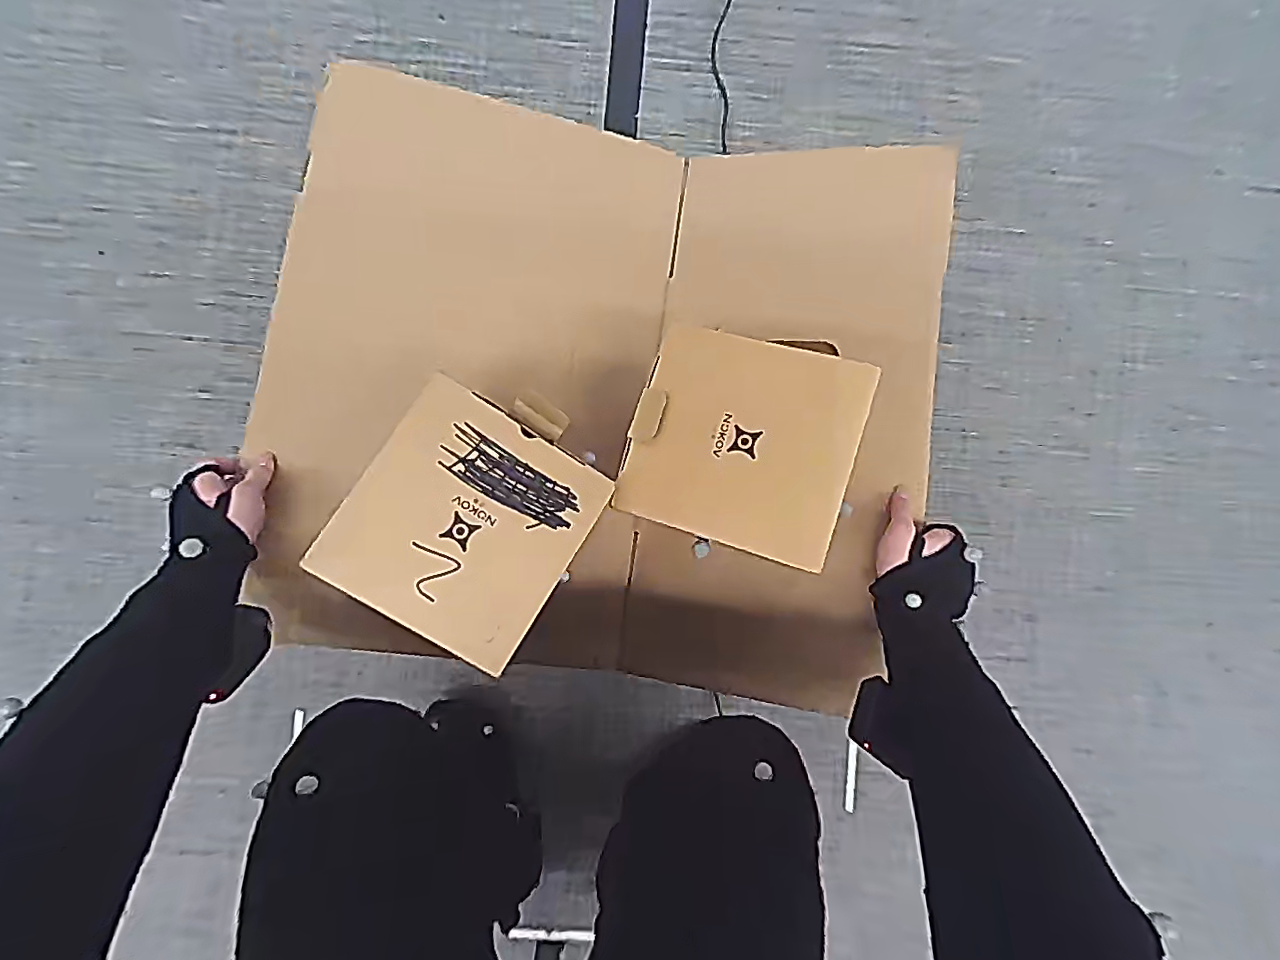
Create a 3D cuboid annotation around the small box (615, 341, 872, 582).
[{"bbox_3d":[0.101,-0.012,0.522,0.179,0.176,0.168,16,87,17],"label":"small box"}]
